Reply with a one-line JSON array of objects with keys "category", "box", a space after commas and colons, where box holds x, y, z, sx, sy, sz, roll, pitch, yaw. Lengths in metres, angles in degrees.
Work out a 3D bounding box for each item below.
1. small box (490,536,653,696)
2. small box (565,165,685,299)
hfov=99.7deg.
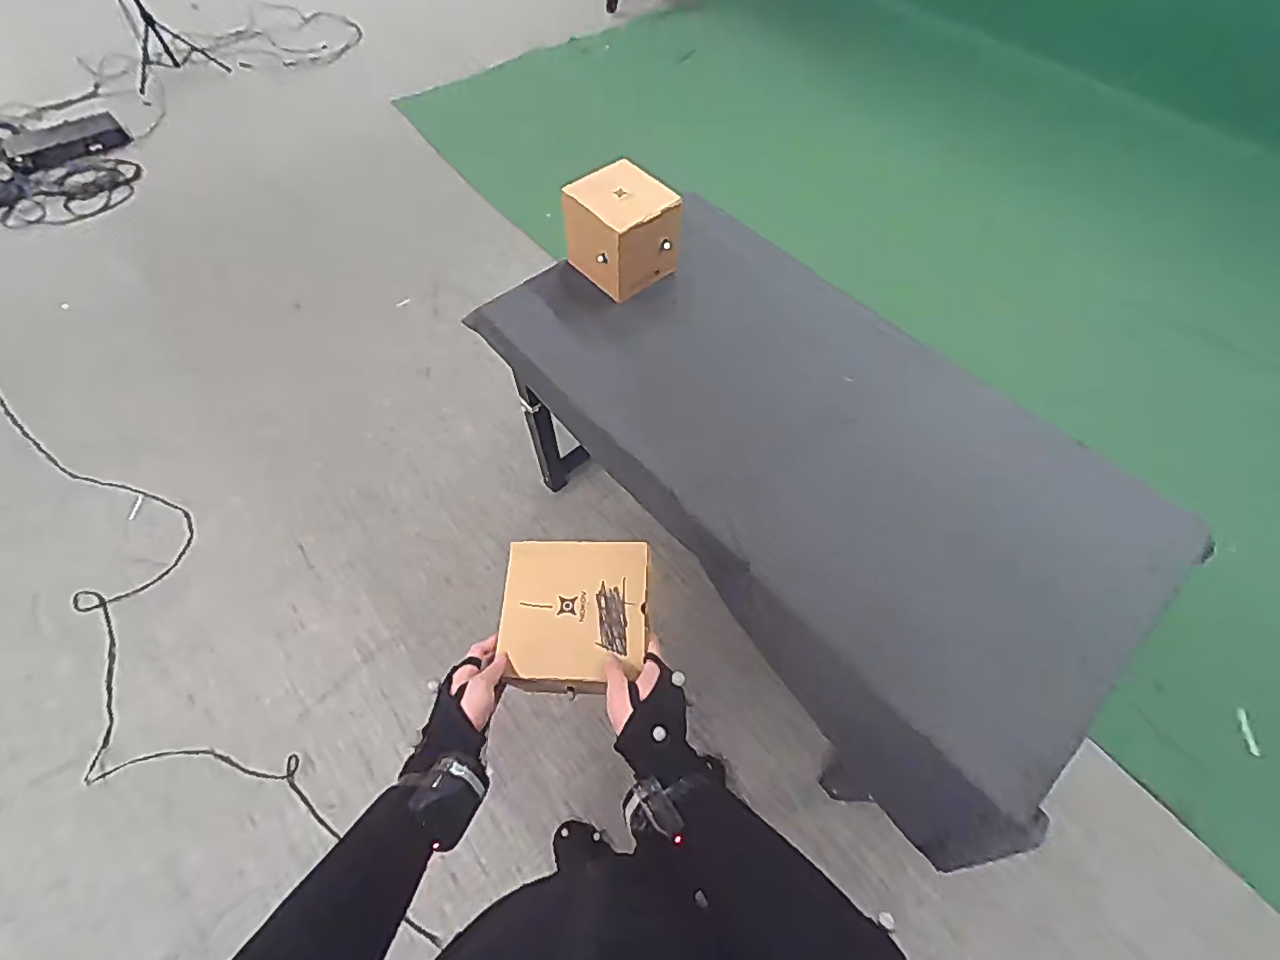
[{"category": "small box", "box": [-0.074, 0.181, 0.697, 0.179, 0.176, 0.168, 1, 62, 3]}, {"category": "small box", "box": [-0.032, -0.497, 1.101, 0.168, 0.176, 0.179, -37, 67, -23]}]
